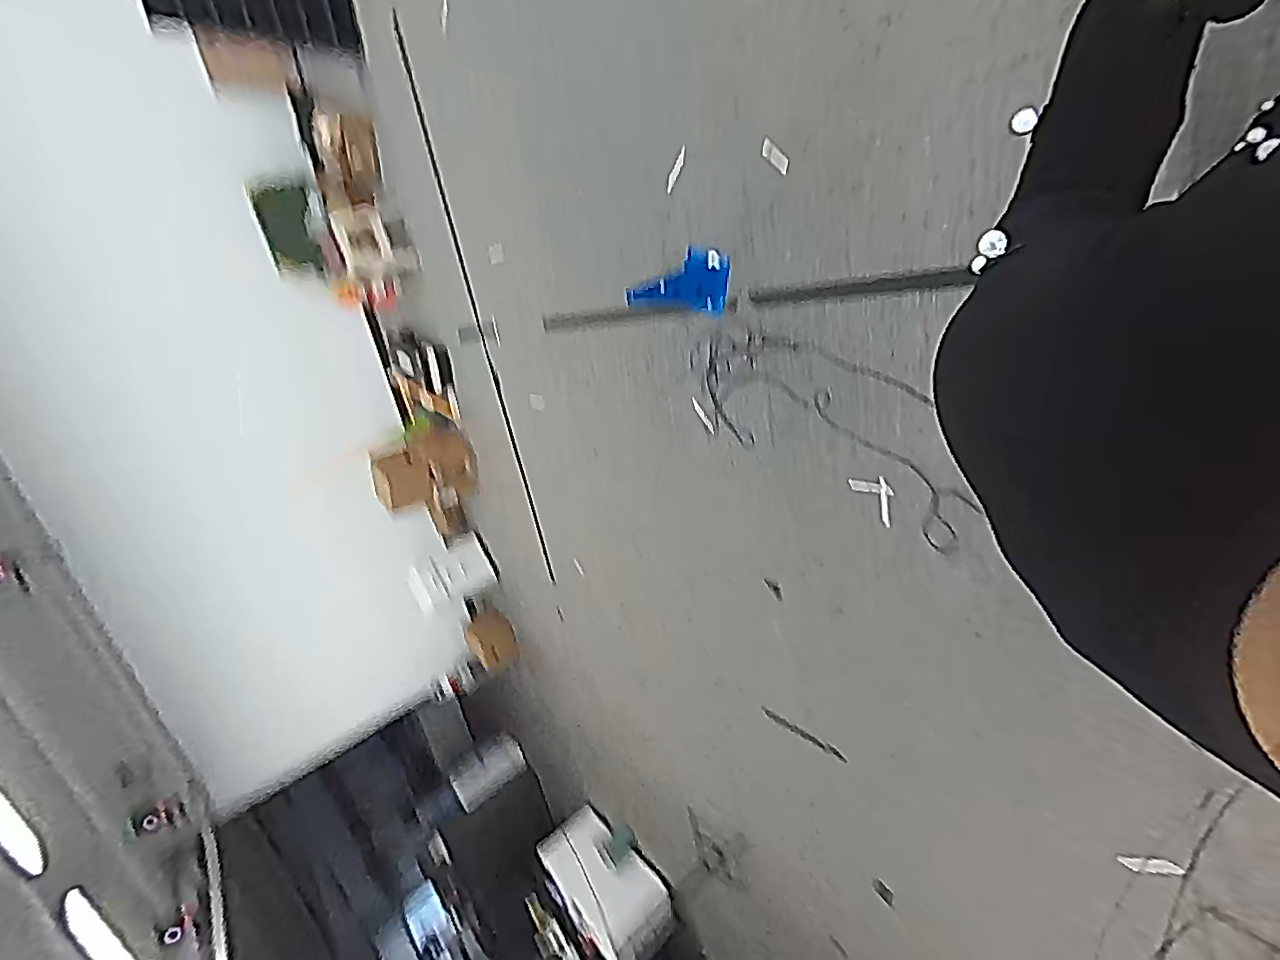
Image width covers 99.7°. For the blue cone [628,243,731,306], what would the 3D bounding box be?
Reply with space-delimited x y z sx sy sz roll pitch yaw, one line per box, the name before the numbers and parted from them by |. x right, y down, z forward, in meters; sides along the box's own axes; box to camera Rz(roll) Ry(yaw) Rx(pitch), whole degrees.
blue cone | 0.118 -0.666 1.806 0.192 0.380 0.193 36 136 35
